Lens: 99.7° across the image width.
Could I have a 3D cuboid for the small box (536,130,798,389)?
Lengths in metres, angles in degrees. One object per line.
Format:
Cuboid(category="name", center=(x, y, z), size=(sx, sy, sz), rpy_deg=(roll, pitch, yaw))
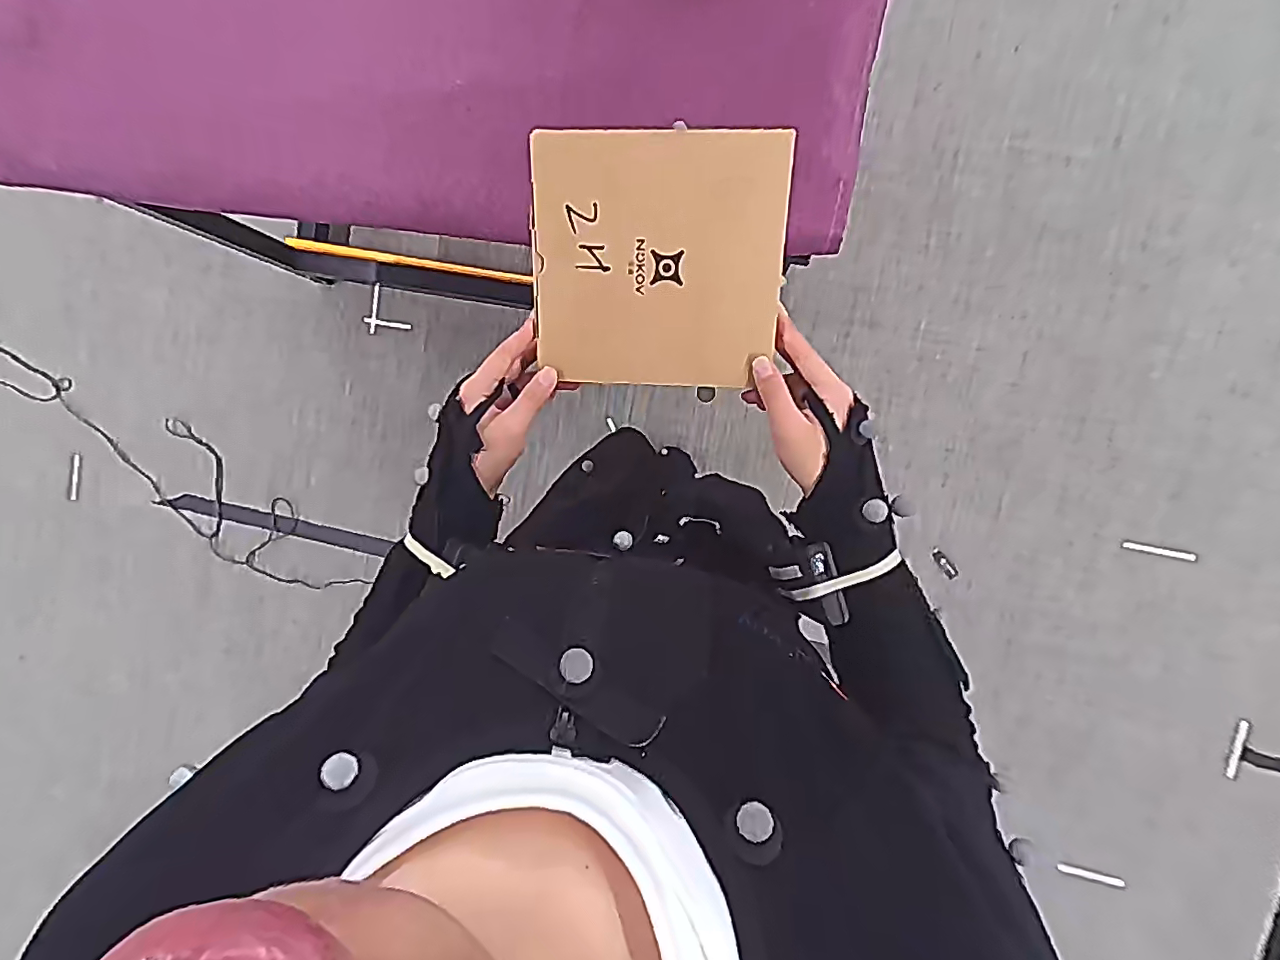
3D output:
Cuboid(category="small box", center=(0.021, -0.175, 0.454), size=(0.179, 0.176, 0.168), rpy_deg=(4, 108, 5))
